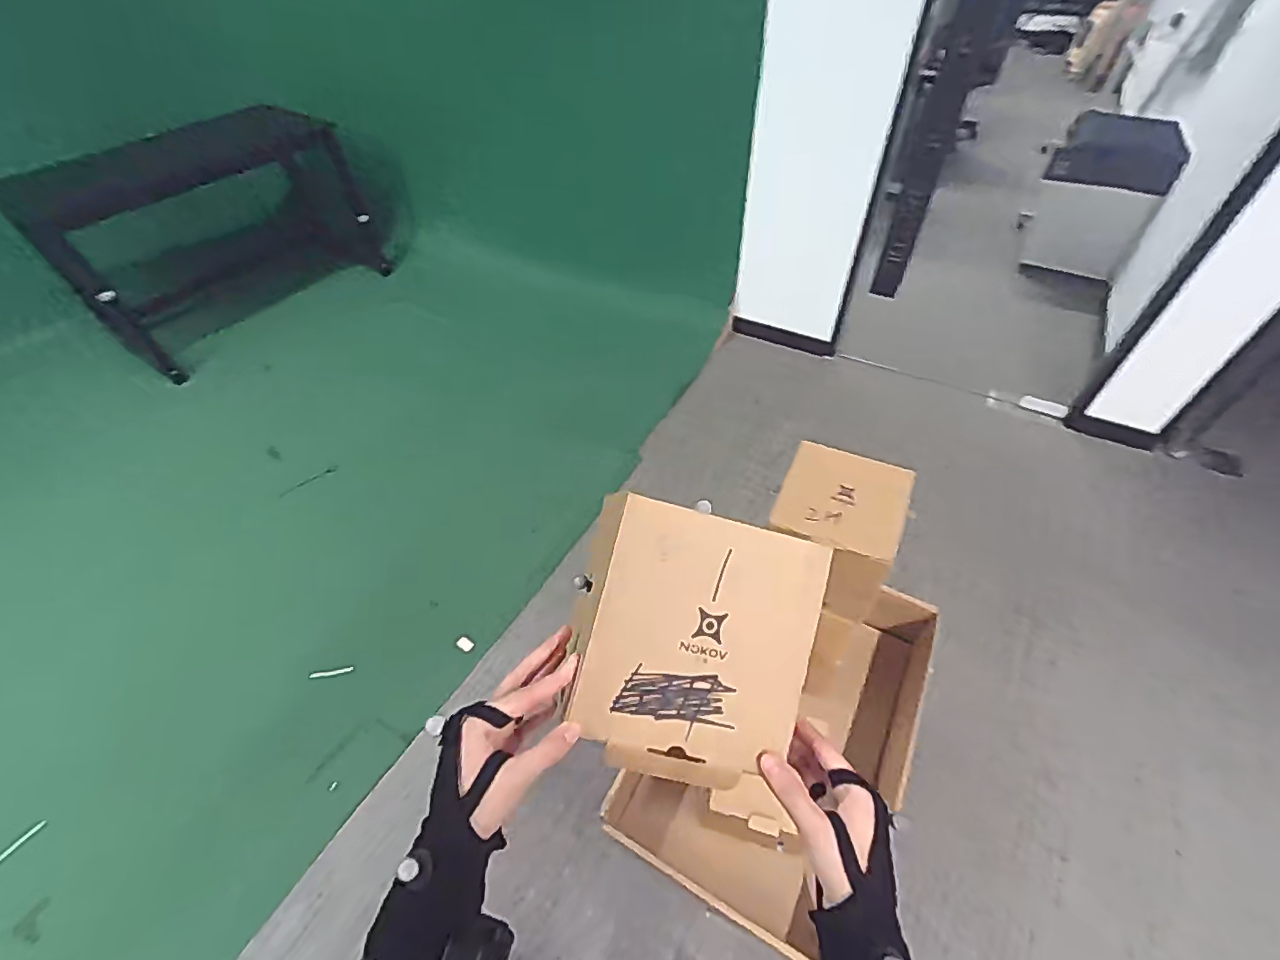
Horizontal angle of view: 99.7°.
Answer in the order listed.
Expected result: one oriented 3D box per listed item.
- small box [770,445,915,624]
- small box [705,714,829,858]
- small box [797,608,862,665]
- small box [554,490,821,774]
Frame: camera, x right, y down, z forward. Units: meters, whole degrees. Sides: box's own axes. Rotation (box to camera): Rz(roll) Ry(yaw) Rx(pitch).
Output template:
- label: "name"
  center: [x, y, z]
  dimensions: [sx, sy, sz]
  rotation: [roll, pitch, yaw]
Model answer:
- label: "small box"
  center: [0.291, 0.083, 0.818]
  dimensions: [0.168, 0.176, 0.179]
  rotation: [19, 53, 20]
- label: "small box"
  center: [0.206, 0.498, 0.898]
  dimensions: [0.168, 0.176, 0.179]
  rotation: [12, 50, 12]
- label: "small box"
  center: [0.288, 0.196, 0.939]
  dimensions: [0.179, 0.176, 0.168]
  rotation: [18, 52, 19]
- label: "small box"
  center: [0.028, 0.117, 0.475]
  dimensions: [0.168, 0.176, 0.179]
  rotation: [16, 83, -8]
